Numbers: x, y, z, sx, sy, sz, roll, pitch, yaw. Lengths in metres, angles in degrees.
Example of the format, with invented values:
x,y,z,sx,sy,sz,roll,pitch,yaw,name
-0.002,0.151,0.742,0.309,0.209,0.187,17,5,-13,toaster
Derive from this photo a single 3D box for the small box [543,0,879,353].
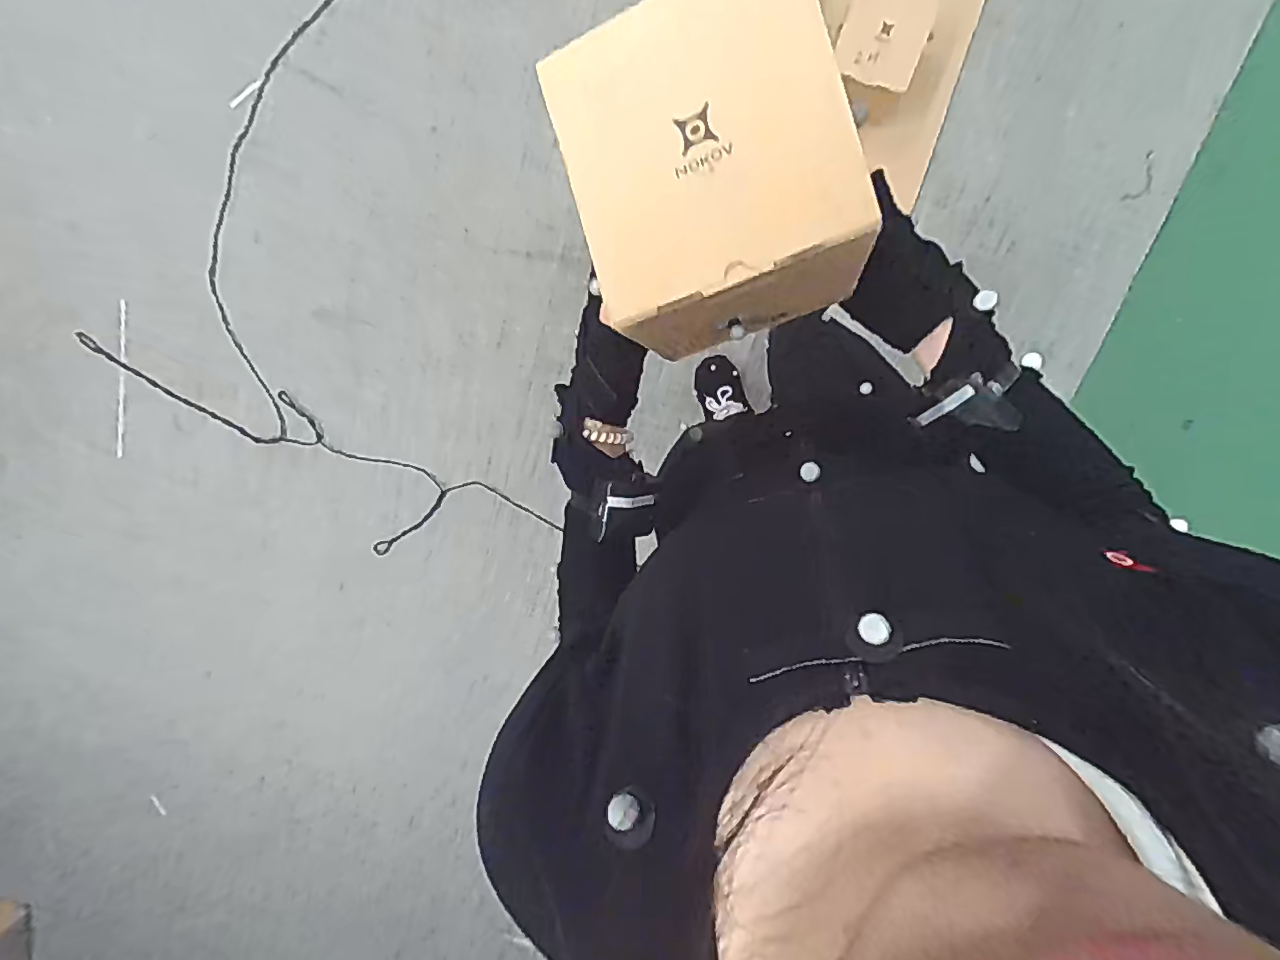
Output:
x,y,z,sx,sy,sz,roll,pitch,yaw,name
0.056,-0.211,0.398,0.168,0.176,0.179,-17,90,17,small box

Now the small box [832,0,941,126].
x,y,z,sx,sy,sz,roll,pitch,yaw,name
0.490,-0.897,1.144,0.168,0.176,0.179,19,105,2,small box
